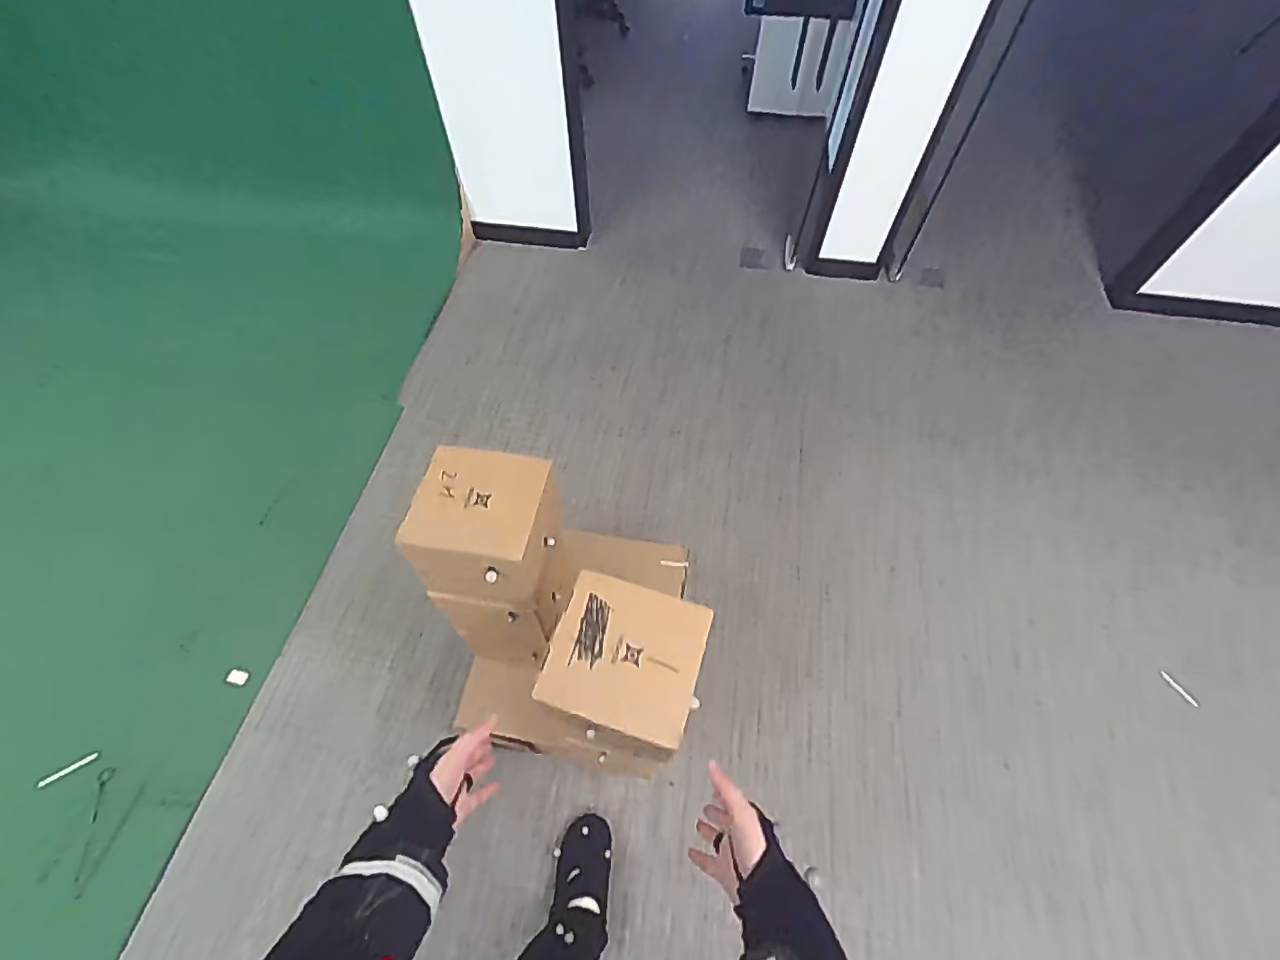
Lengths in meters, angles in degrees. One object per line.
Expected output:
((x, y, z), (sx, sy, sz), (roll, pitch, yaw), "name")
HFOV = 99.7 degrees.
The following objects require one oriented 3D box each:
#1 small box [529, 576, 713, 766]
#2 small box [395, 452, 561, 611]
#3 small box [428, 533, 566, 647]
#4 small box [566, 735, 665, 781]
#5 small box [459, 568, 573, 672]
((-0.021, 0.251, 0.697), (0.179, 0.176, 0.168), (17, 58, 8), "small box")
((-0.225, 0.083, 0.812), (0.179, 0.176, 0.168), (8, 54, 5), "small box")
((-0.237, 0.179, 0.946), (0.179, 0.176, 0.168), (8, 55, 3), "small box")
((-0.026, 0.423, 0.978), (0.168, 0.176, 0.179), (12, 57, 6), "small box")
((-0.232, 0.274, 1.078), (0.179, 0.176, 0.168), (6, 55, 4), "small box")
